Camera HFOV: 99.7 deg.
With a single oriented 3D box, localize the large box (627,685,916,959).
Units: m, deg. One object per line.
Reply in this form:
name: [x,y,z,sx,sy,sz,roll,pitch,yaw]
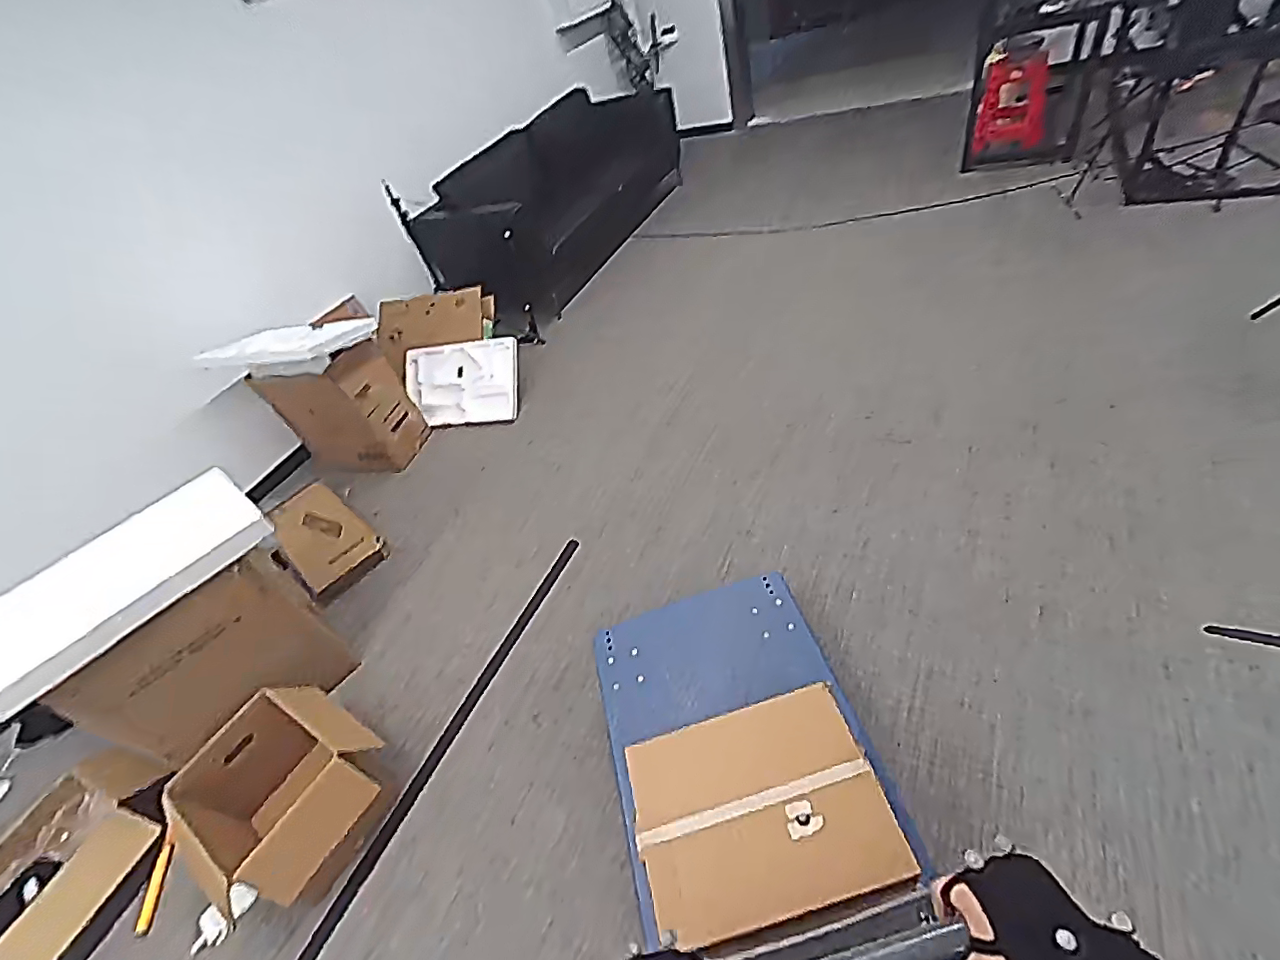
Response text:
large box: [0.227,0.654,1.012,0.408,0.320,0.320,-18,43,-1]
